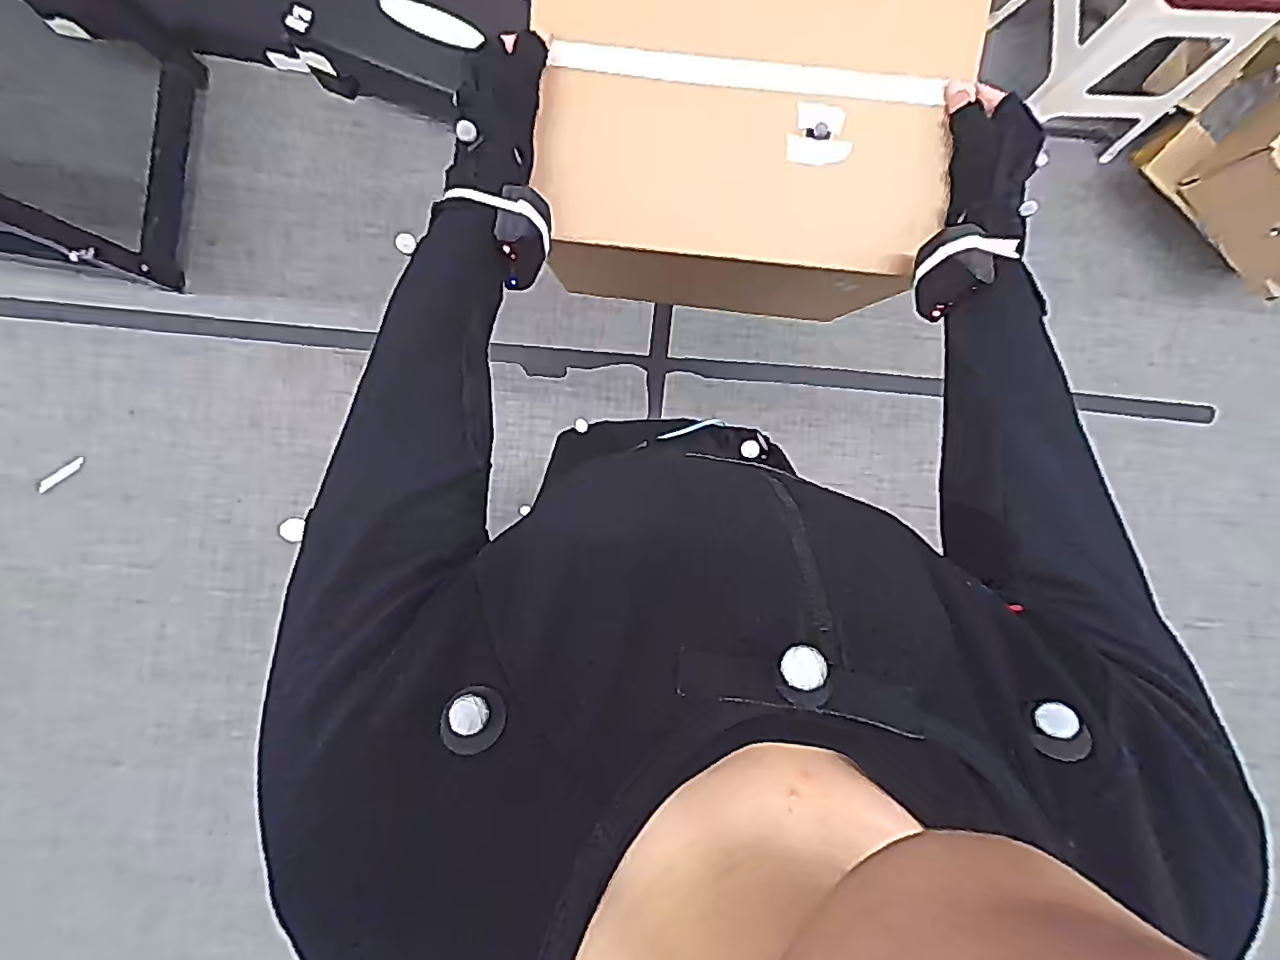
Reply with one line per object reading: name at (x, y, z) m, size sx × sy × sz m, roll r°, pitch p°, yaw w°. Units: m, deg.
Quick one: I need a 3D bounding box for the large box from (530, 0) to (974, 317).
large box at (0.098, -0.391, 0.653) m, size 0.408 × 0.320 × 0.320 m, roll 5°, pitch 100°, yaw -1°
